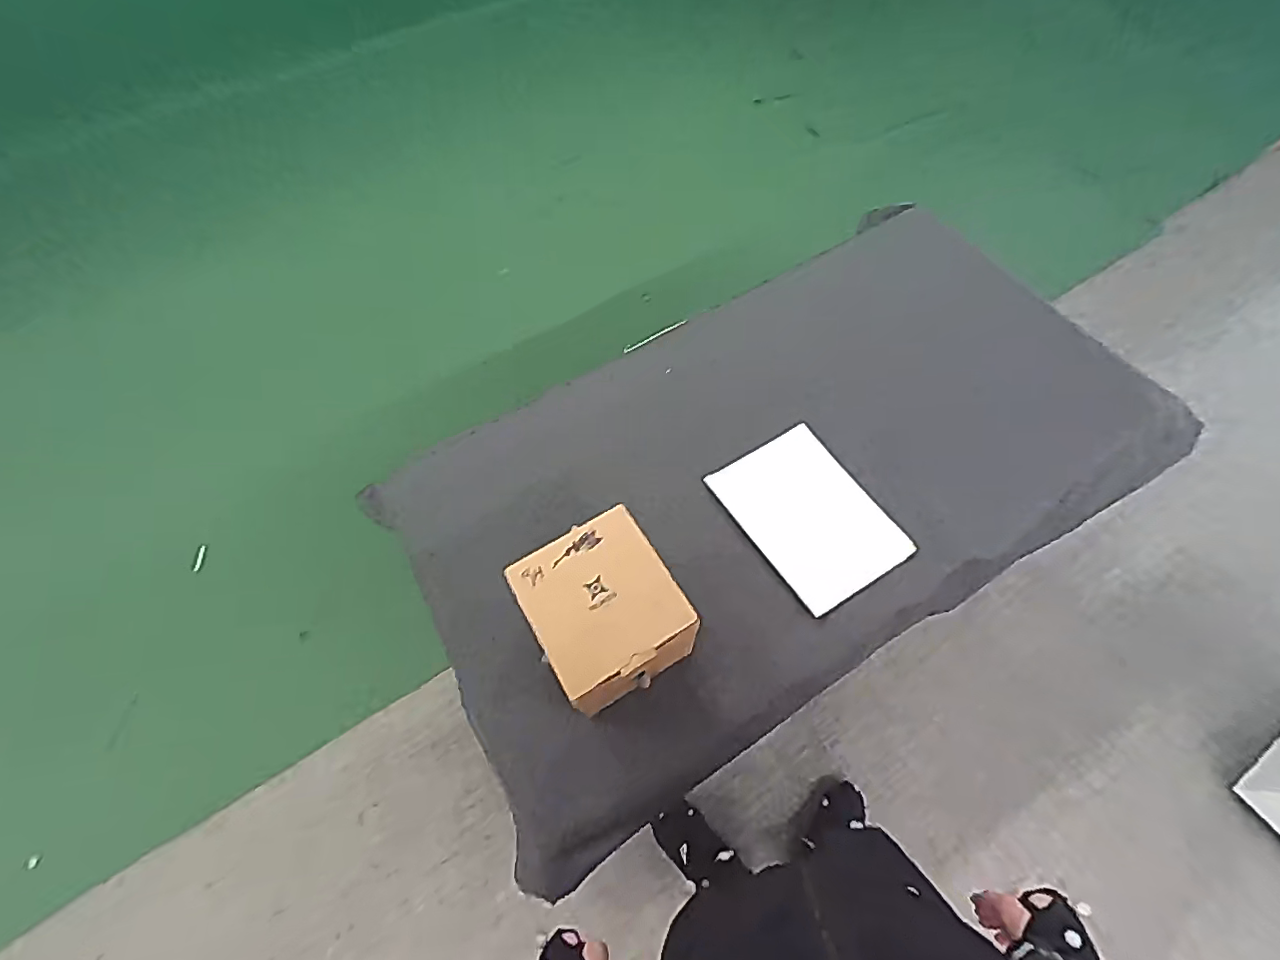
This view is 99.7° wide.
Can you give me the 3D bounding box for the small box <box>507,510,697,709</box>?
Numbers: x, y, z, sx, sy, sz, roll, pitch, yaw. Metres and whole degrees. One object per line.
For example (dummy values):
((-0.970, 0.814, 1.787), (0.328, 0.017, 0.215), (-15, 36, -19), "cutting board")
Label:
((-0.044, 0.173, 0.695), (0.168, 0.176, 0.179), (-29, 66, -13), "small box")
